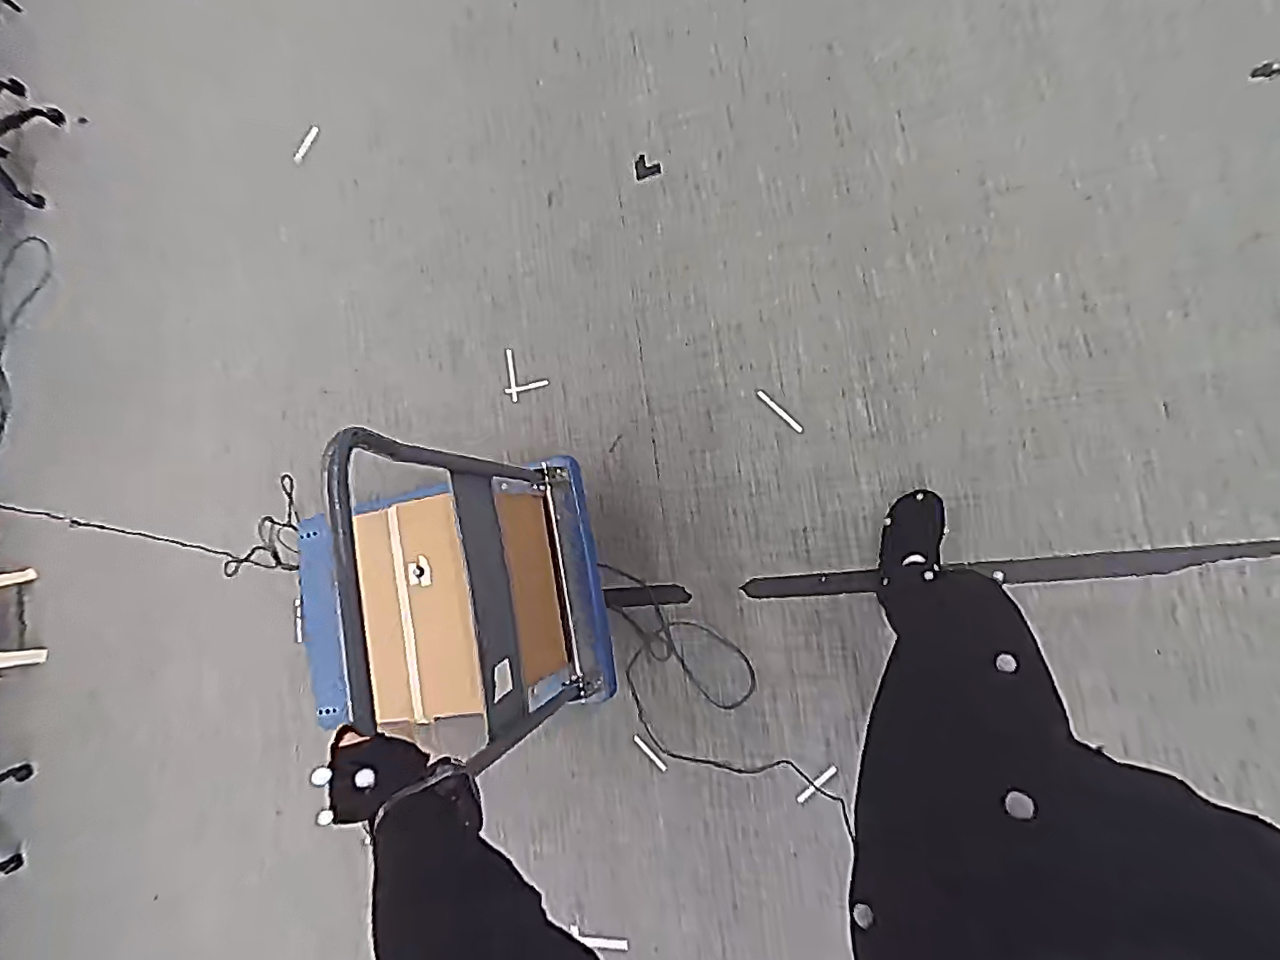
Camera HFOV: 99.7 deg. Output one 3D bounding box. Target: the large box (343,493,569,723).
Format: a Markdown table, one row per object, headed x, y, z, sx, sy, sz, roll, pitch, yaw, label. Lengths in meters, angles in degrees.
| x | y | z | sx | sy | sz | roll | pitch | yaw | label |
| --- | --- | --- | --- | --- | --- | --- | --- | --- | --- |
| -0.384 | 0.261 | 1.175 | 0.320 | 0.320 | 0.408 | -13 | 82 | 17 | large box |
